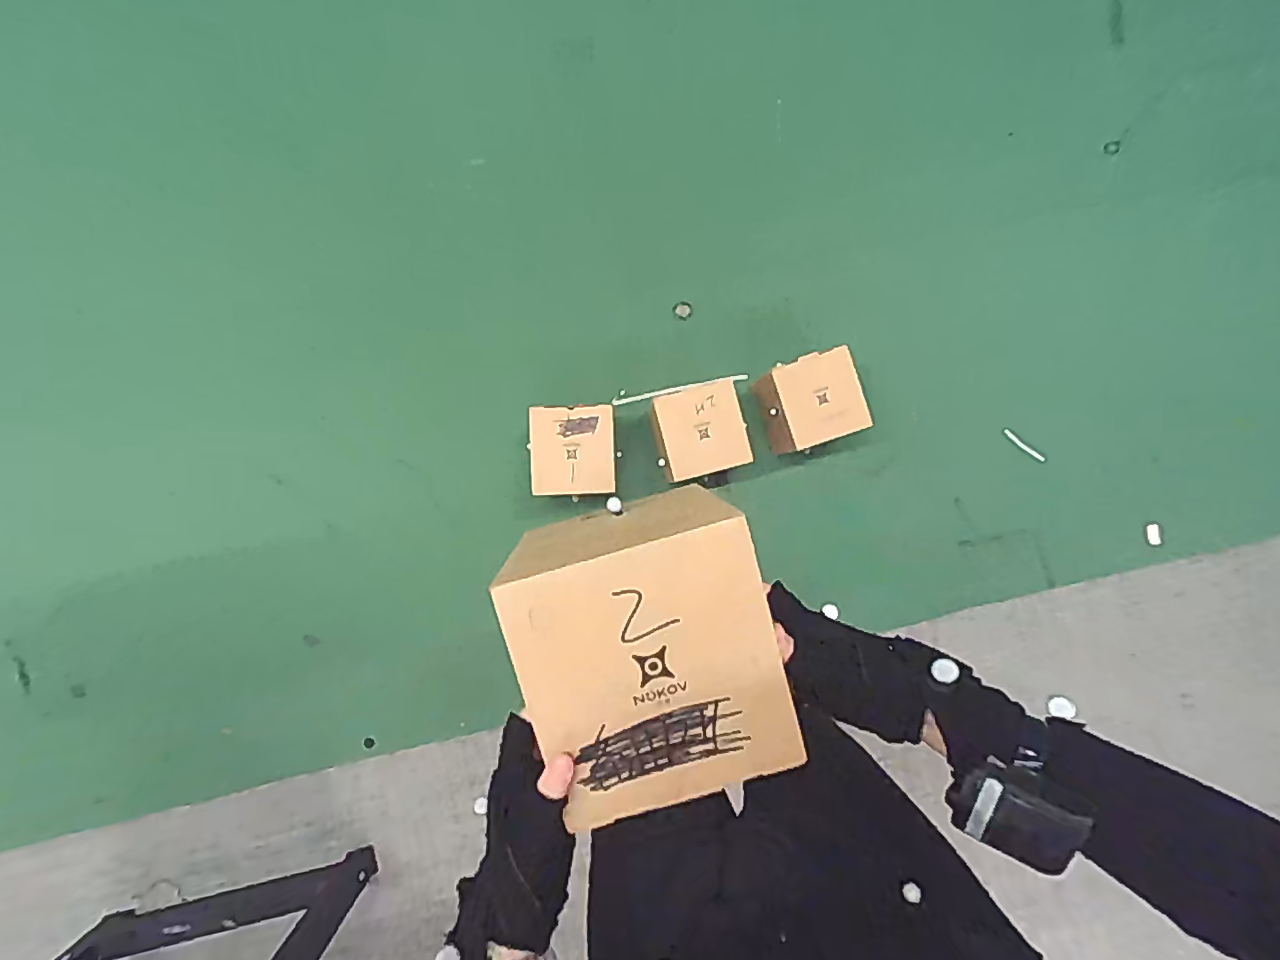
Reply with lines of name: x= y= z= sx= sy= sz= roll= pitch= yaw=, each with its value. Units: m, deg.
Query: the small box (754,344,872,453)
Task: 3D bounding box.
small box: x=0.359 y=-0.167 z=1.160 sx=0.168 sy=0.176 sz=0.179 roll=-17 pitch=90 yaw=-3

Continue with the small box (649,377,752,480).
small box: x=0.120 y=-0.102 z=1.144 sx=0.168 sy=0.176 sz=0.179 roll=-14 pitch=90 yaw=-4

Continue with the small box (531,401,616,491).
small box: x=-0.135 y=-0.066 z=1.131 sx=0.168 sy=0.176 sz=0.179 roll=-1 pitch=90 yaw=-3
